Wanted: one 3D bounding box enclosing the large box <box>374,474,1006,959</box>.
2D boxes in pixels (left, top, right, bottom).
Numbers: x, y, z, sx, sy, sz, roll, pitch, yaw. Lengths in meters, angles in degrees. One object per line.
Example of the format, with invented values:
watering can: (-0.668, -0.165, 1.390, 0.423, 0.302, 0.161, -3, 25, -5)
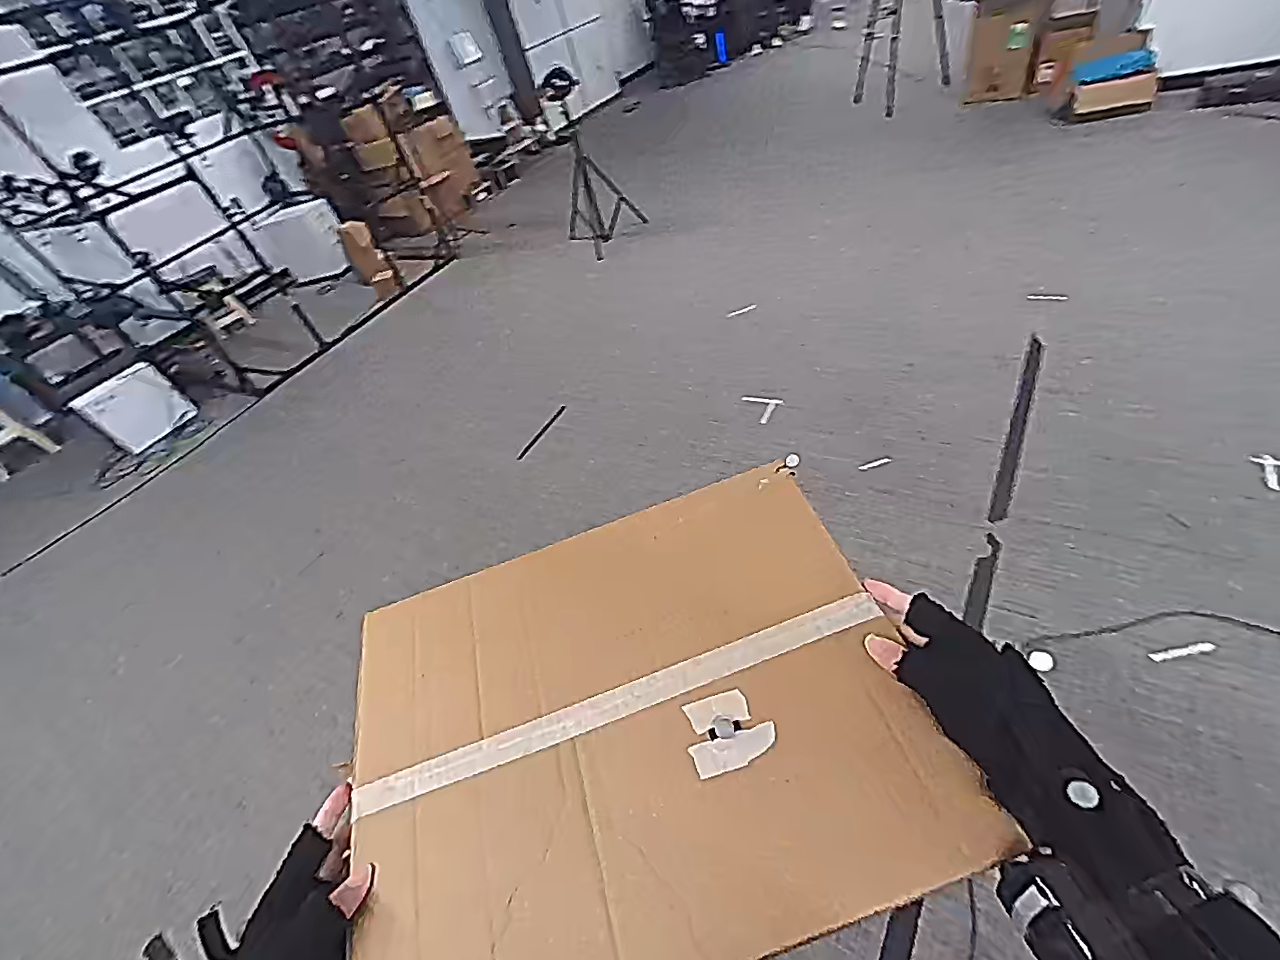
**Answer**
large box: (0.021, 0.260, 0.521, 0.408, 0.320, 0.320, -20, 51, -2)
